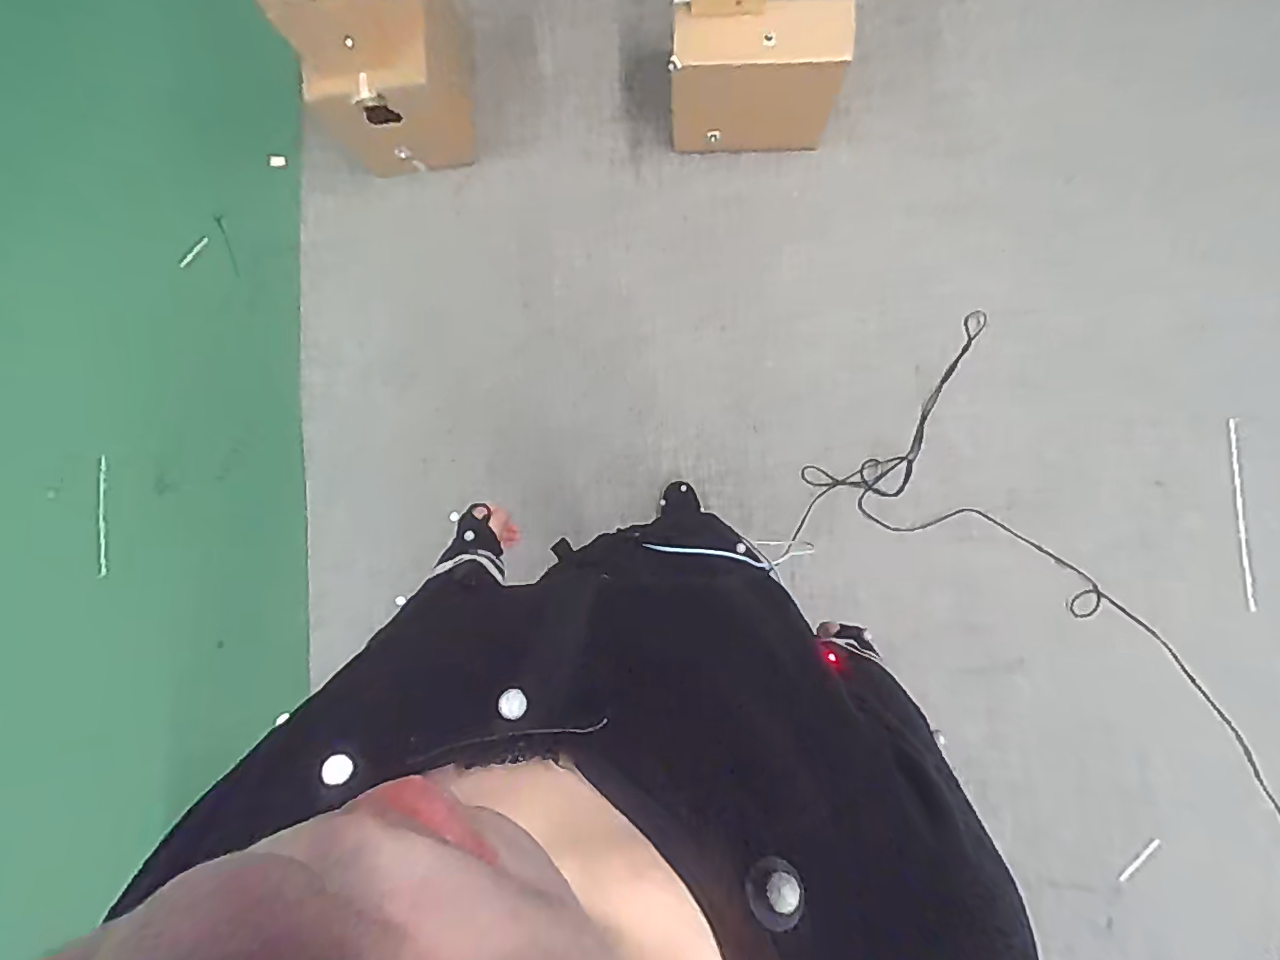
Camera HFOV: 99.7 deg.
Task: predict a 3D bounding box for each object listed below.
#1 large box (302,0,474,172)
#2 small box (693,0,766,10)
[{"bbox_3d":[-0.658,-1.122,1.445,0.320,0.320,0.408,-4,87,4],"label":"large box"},{"bbox_3d":[0.195,-1.133,1.131,0.168,0.176,0.179,3,86,4],"label":"small box"}]
